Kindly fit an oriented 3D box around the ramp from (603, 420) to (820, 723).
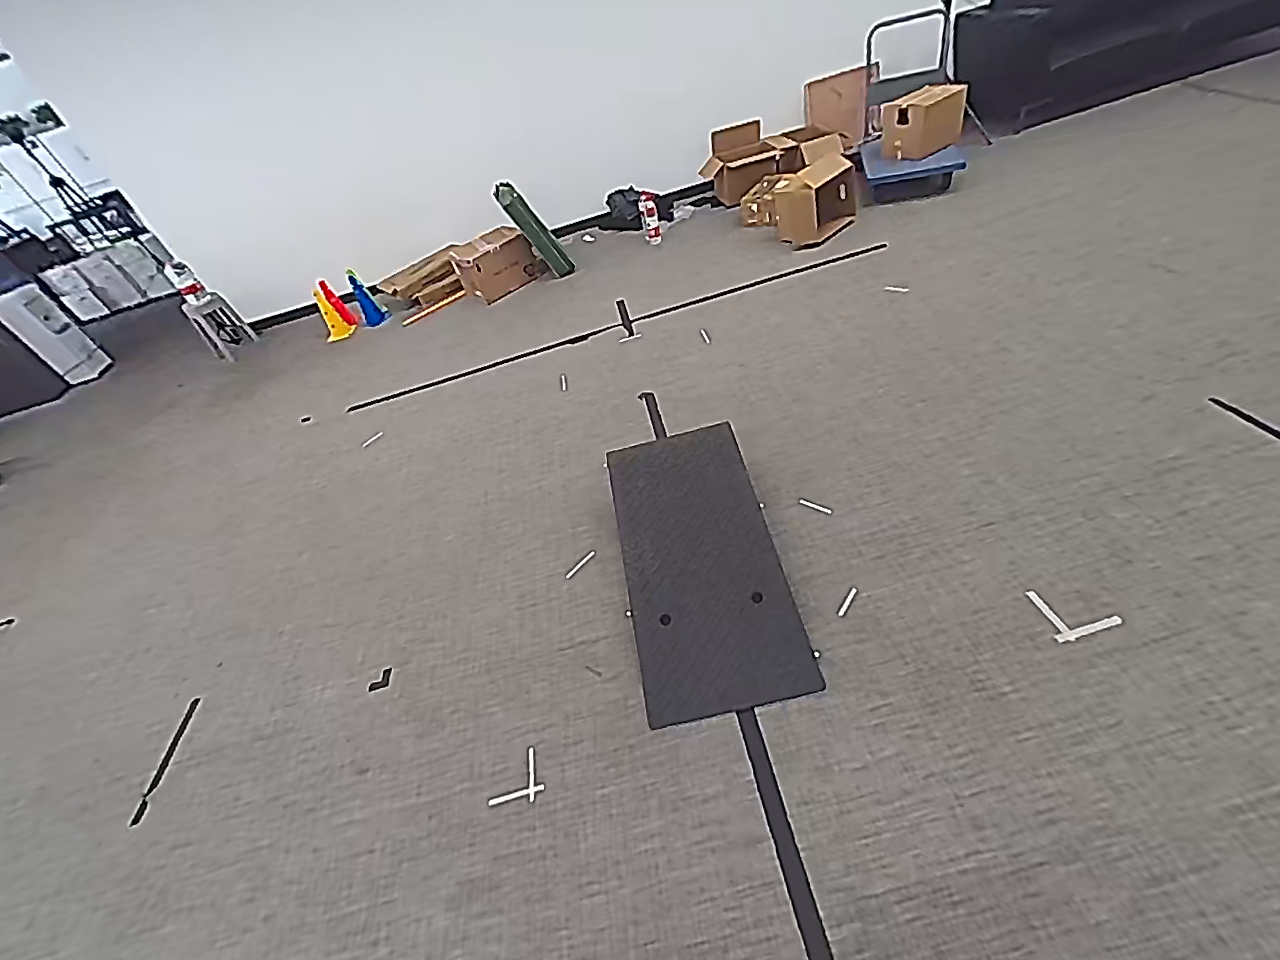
[{"bbox_3d":[0.176,0.223,1.770,0.509,0.206,0.991,-15,43,2],"label":"ramp"}]
